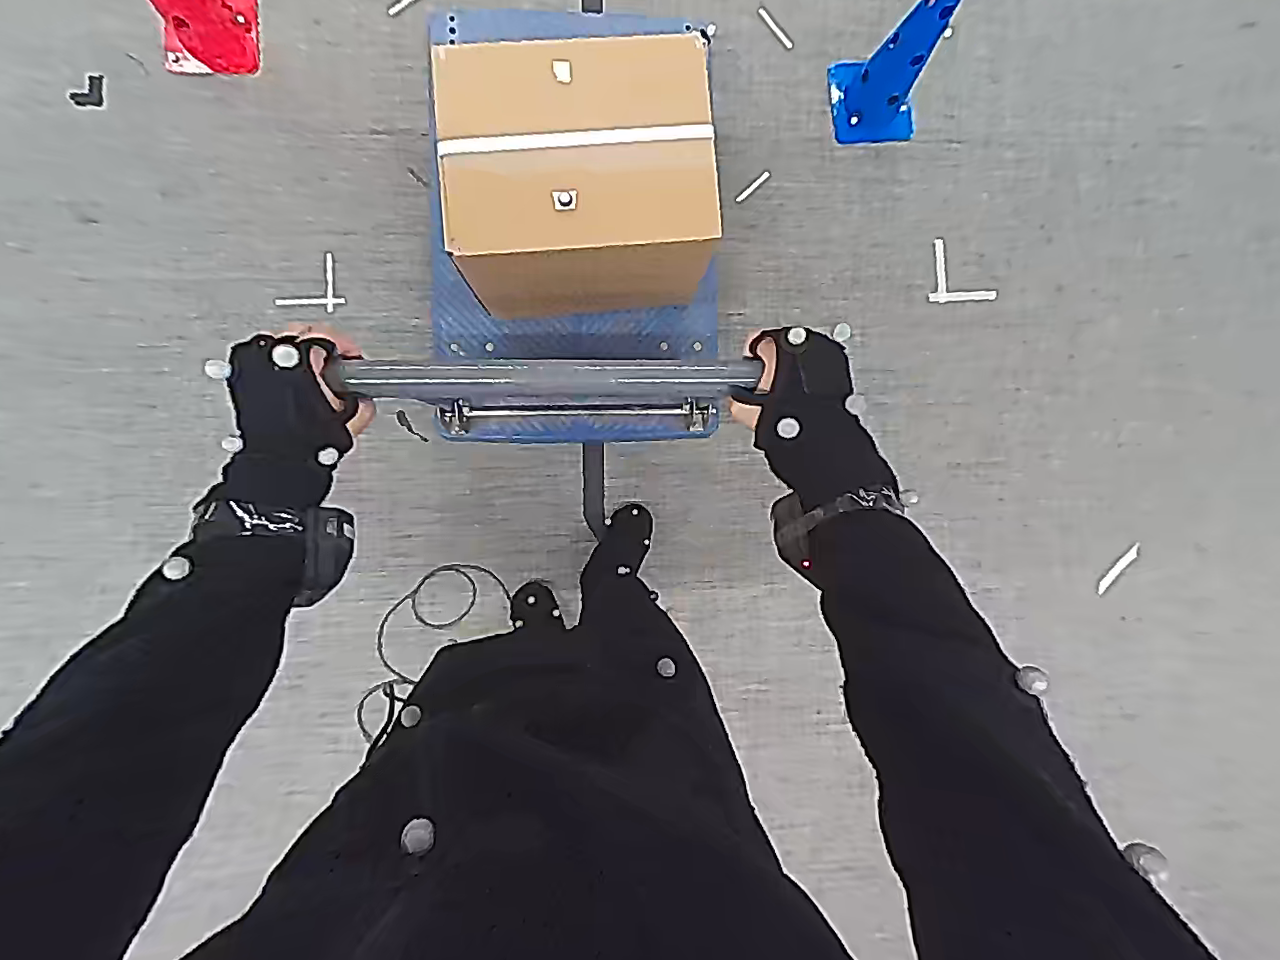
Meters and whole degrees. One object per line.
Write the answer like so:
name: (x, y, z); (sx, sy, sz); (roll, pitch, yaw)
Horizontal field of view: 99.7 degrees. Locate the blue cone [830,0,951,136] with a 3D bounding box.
blue cone: (0.577, -0.940, 1.160); (0.193, 0.380, 0.192); (-5, 89, -4)
